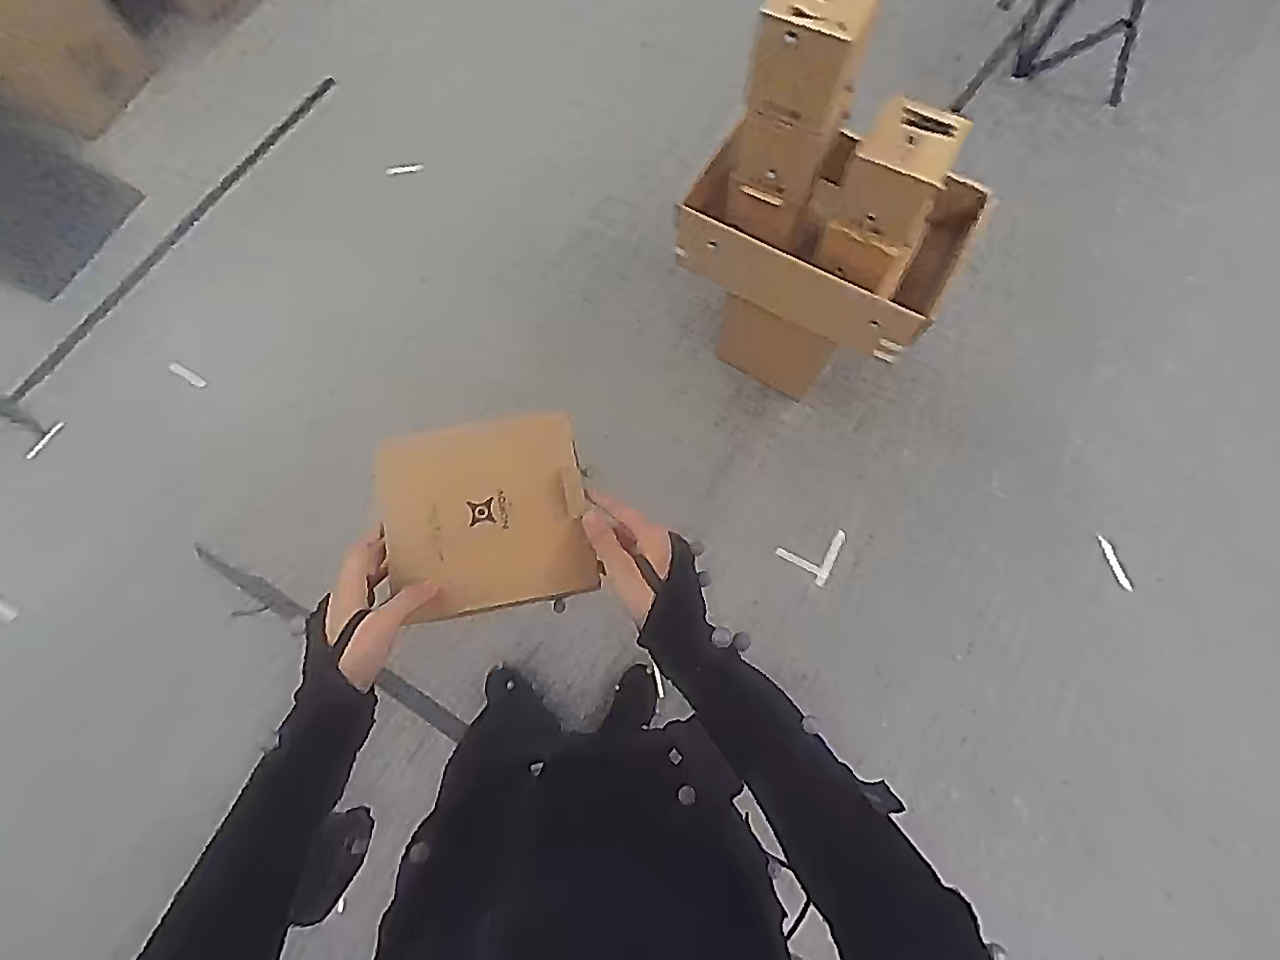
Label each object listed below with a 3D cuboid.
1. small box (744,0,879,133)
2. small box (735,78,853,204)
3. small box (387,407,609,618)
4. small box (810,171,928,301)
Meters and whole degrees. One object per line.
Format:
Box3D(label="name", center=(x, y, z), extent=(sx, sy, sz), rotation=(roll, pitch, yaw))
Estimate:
Box3D(label="small box", center=(0.300, -0.777, 0.970), extent=(0.168, 0.176, 0.179), rotation=(27, 74, 10))
Box3D(label="small box", center=(0.310, -0.724, 1.126), extent=(0.168, 0.176, 0.179), rotation=(27, 76, 10))
Box3D(label="small box", center=(-0.131, 0.041, 0.545), extent=(0.179, 0.176, 0.168), rotation=(-9, 77, -6))
Box3D(label="small box", center=(0.514, -0.553, 1.240), extent=(0.168, 0.176, 0.179), rotation=(31, 77, 12))
